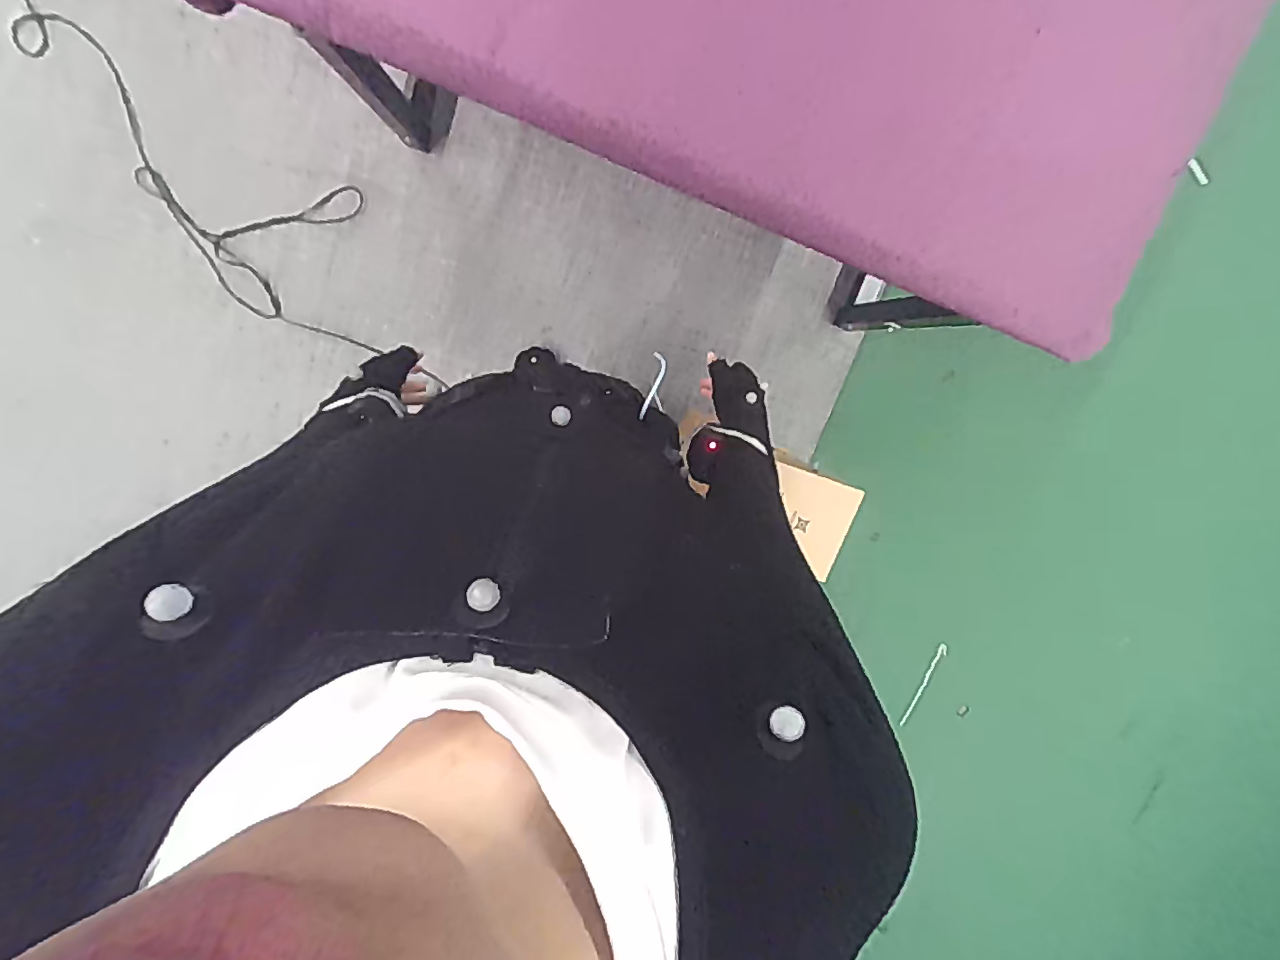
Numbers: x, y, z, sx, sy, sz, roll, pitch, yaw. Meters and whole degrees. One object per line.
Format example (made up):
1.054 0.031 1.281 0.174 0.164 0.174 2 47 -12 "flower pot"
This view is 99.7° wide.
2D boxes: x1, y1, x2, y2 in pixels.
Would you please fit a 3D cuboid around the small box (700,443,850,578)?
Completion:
0.227 0.045 0.955 0.179 0.176 0.168 19 101 -10 "small box"

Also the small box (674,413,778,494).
0.190 -0.040 1.269 0.168 0.176 0.179 23 100 -11 "small box"

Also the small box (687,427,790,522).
0.207 0.008 1.115 0.168 0.176 0.179 22 101 -11 "small box"
